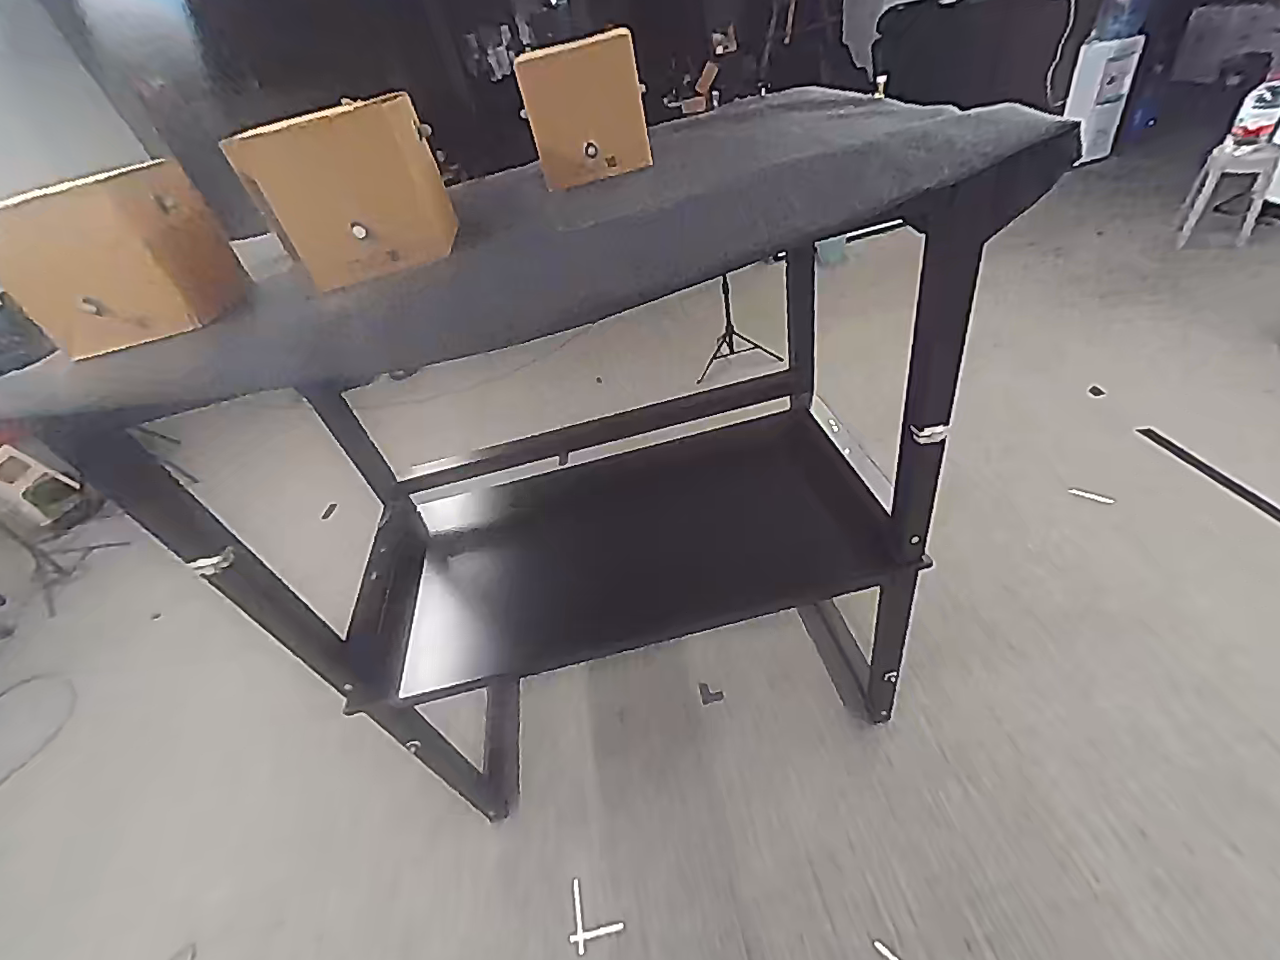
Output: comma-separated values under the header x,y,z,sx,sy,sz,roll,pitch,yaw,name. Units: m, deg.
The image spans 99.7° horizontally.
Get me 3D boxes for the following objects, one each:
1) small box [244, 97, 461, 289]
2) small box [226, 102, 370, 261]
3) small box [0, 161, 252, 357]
x,y,z,sx,sy,sz,roll,pitch,yaw,name
-0.342,-0.364,0.688,0.168,0.176,0.179,-15,40,-1,small box
-0.485,-0.470,0.853,0.179,0.176,0.168,-16,40,-2,small box
-0.635,-0.277,0.677,0.168,0.176,0.179,-16,40,-2,small box
